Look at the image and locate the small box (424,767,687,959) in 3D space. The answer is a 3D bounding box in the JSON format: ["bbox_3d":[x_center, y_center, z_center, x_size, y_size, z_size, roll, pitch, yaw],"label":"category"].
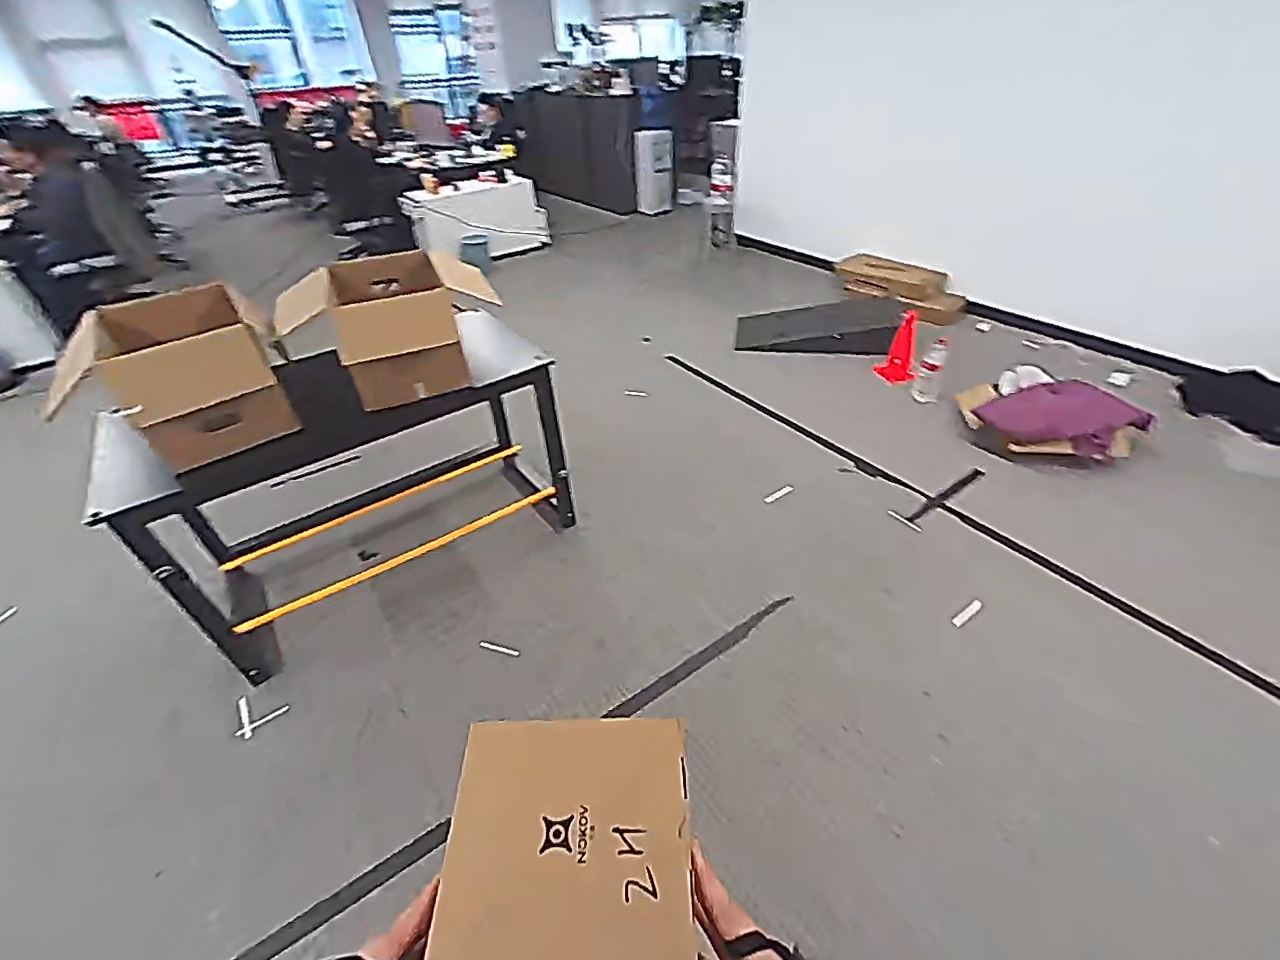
[{"bbox_3d":[-0.055,0.347,0.431,0.179,0.176,0.168,-1,45,-1],"label":"small box"}]
